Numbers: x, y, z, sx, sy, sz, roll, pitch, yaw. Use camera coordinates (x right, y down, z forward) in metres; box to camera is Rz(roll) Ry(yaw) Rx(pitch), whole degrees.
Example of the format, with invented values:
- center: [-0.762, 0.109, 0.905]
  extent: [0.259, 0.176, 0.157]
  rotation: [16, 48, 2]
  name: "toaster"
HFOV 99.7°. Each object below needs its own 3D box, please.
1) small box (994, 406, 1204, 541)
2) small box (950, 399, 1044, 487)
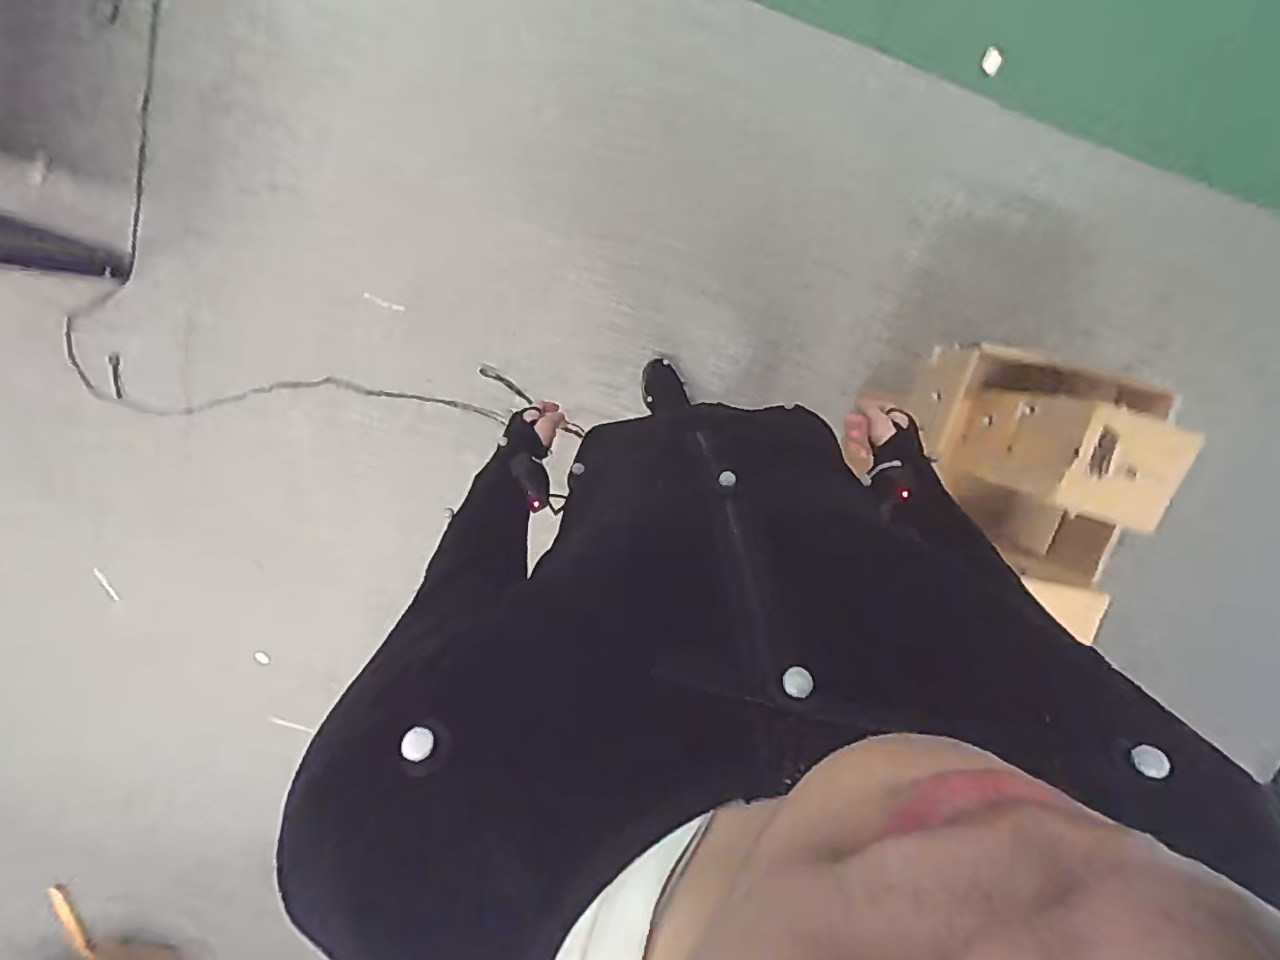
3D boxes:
- center: [0.749, -0.021, 0.908]
  extent: [0.179, 0.176, 0.168]
  rotation: [18, 104, -3]
  name: "small box"
- center: [0.756, -0.060, 1.066]
  extent: [0.179, 0.176, 0.168]
  rotation: [13, 103, -2]
  name: "small box"
